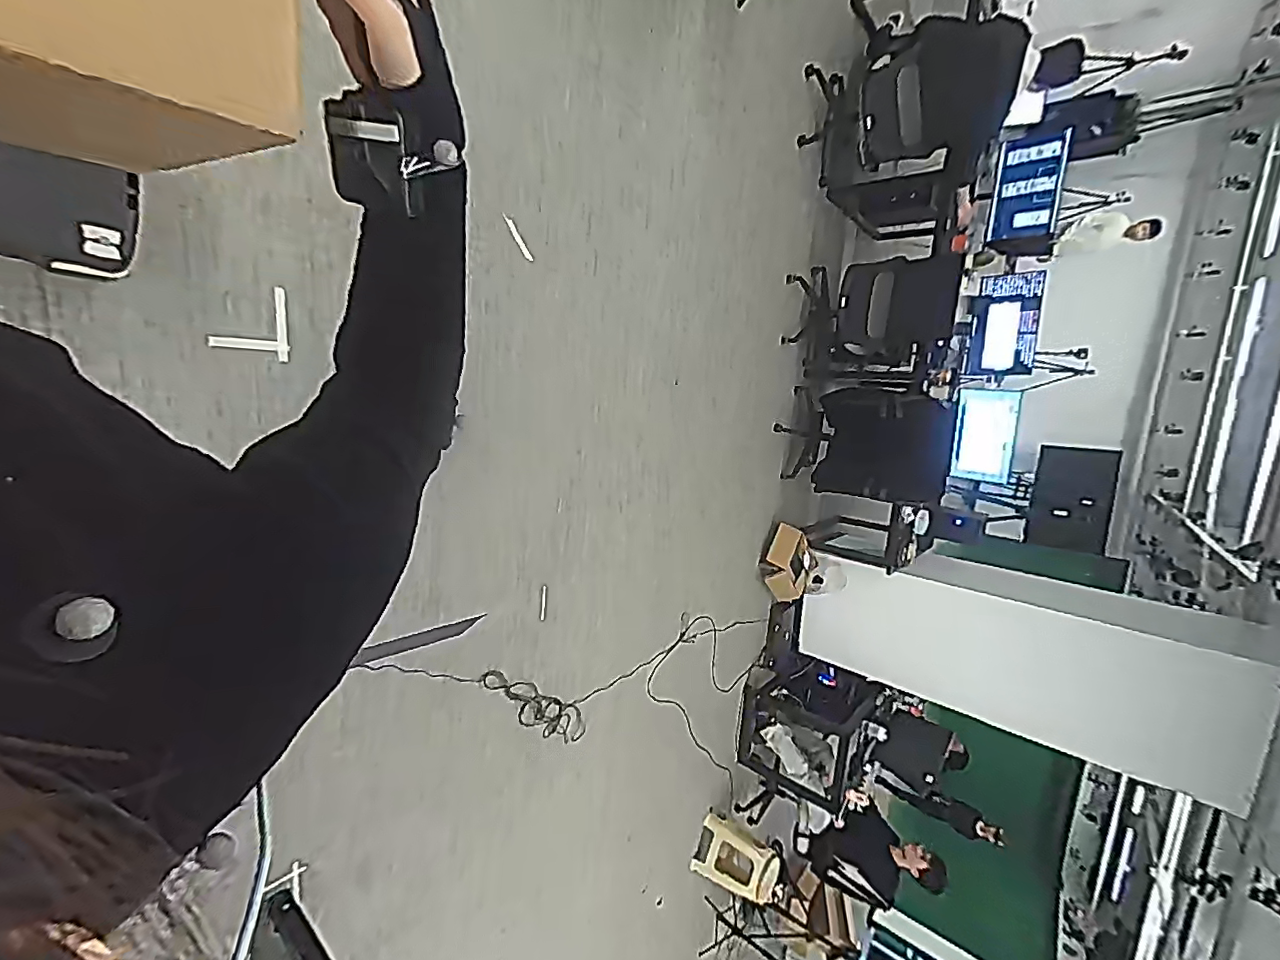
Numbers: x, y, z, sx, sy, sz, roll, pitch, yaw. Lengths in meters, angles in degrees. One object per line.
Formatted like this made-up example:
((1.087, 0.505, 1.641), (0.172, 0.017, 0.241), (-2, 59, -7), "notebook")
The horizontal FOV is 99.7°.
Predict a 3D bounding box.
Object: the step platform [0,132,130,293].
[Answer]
((-1.165, -0.496, 0.737), (0.684, 0.204, 0.286), (4, 95, -51), "step platform")
